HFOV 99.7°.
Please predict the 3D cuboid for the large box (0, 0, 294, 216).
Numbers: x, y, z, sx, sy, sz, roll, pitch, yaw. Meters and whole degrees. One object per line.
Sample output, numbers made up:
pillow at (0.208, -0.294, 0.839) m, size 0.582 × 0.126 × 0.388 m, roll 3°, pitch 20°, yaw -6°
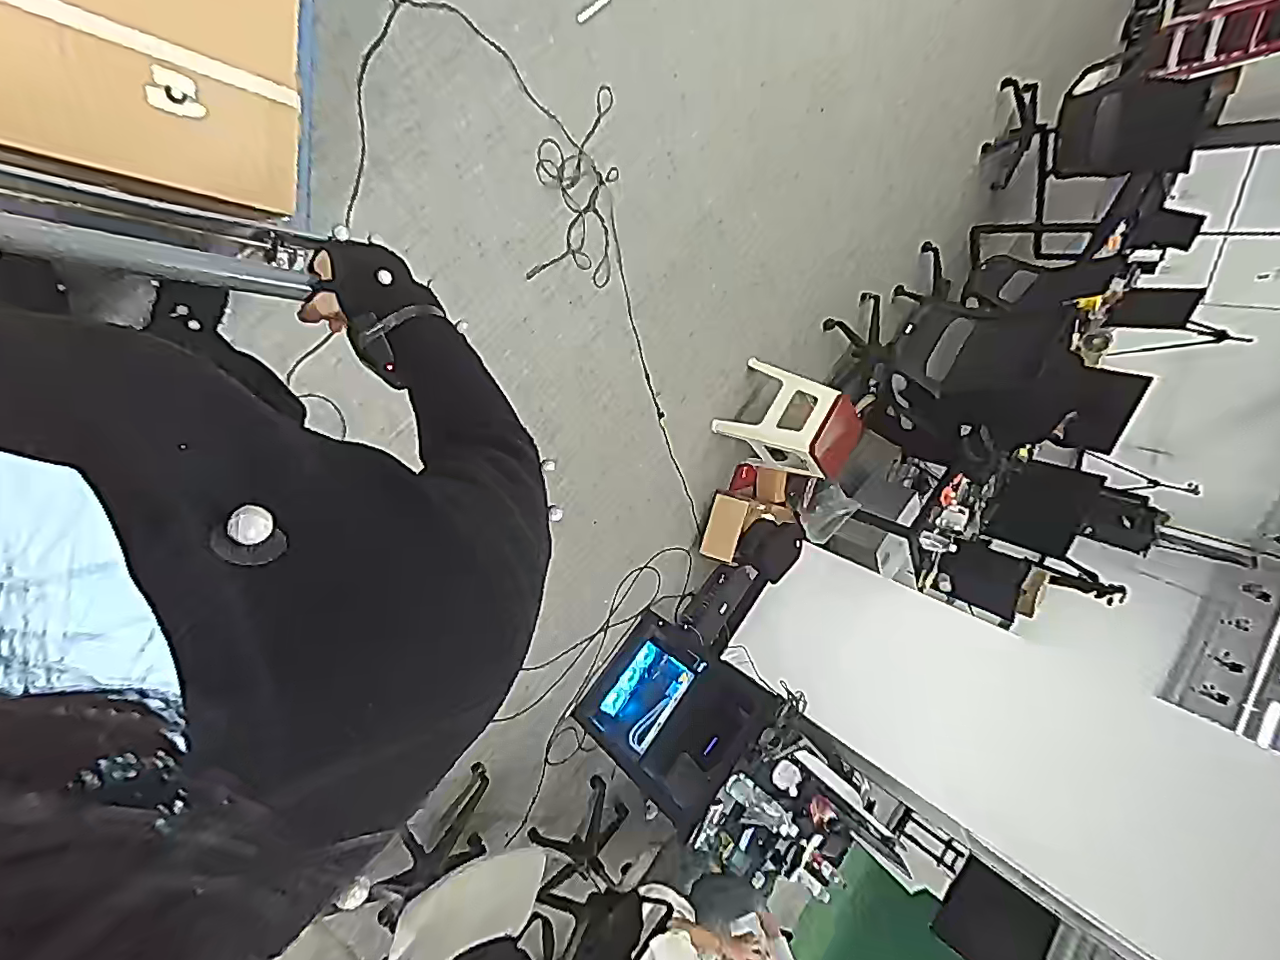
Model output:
large box at (-0.746, -0.580, 0.740) m, size 0.408 × 0.320 × 0.320 m, roll -4°, pitch 112°, yaw -45°
